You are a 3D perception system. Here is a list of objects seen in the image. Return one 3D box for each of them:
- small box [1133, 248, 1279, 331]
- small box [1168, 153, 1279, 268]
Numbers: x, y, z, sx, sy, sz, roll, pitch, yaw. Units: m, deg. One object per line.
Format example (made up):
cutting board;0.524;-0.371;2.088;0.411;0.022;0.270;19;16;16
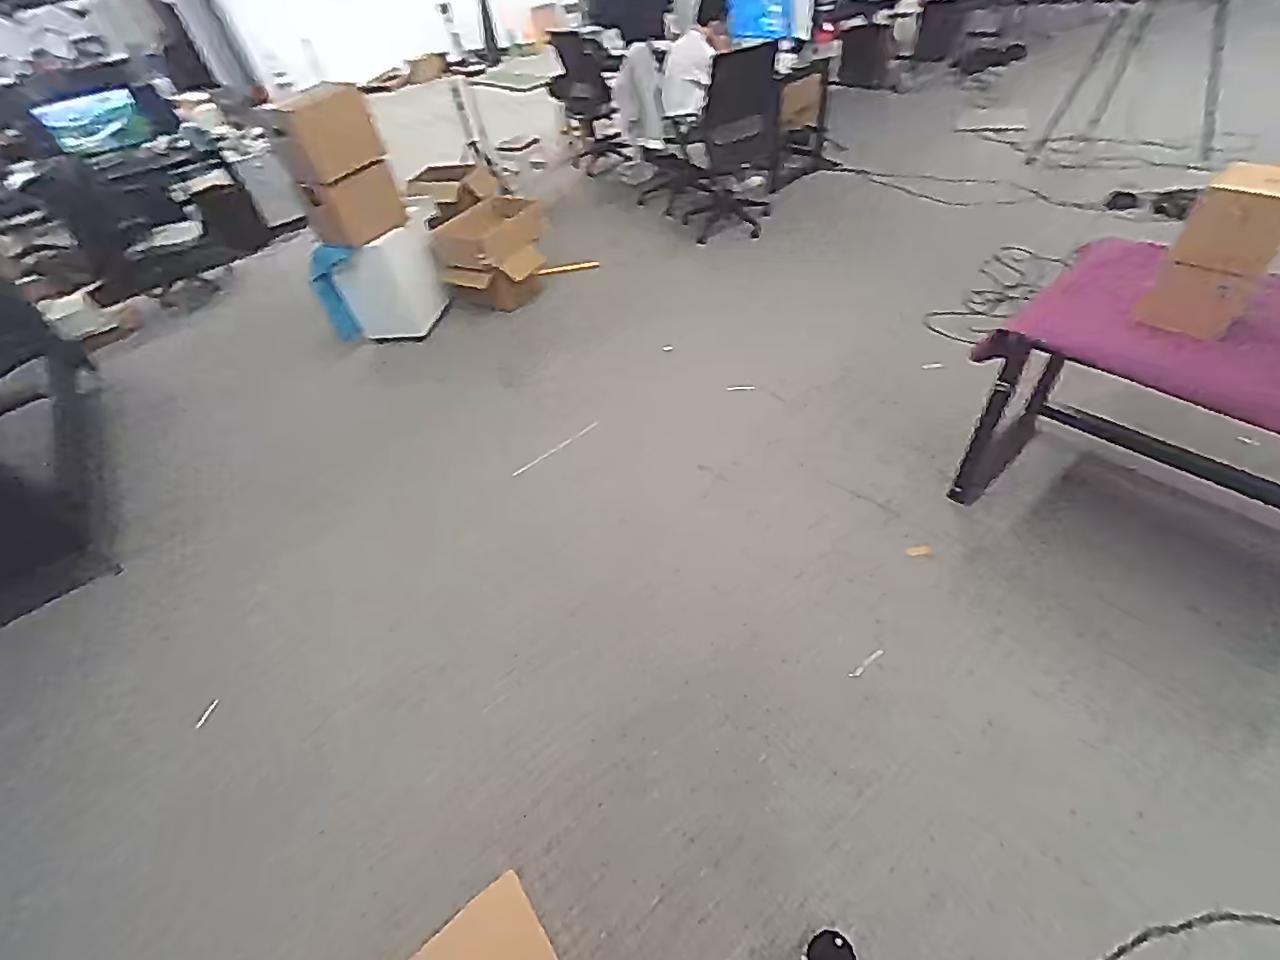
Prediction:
small box;1.381;-0.489;1.324;0.168;0.176;0.179;-35;51;-21
small box;1.355;-0.597;1.205;0.168;0.176;0.179;-35;50;-20
